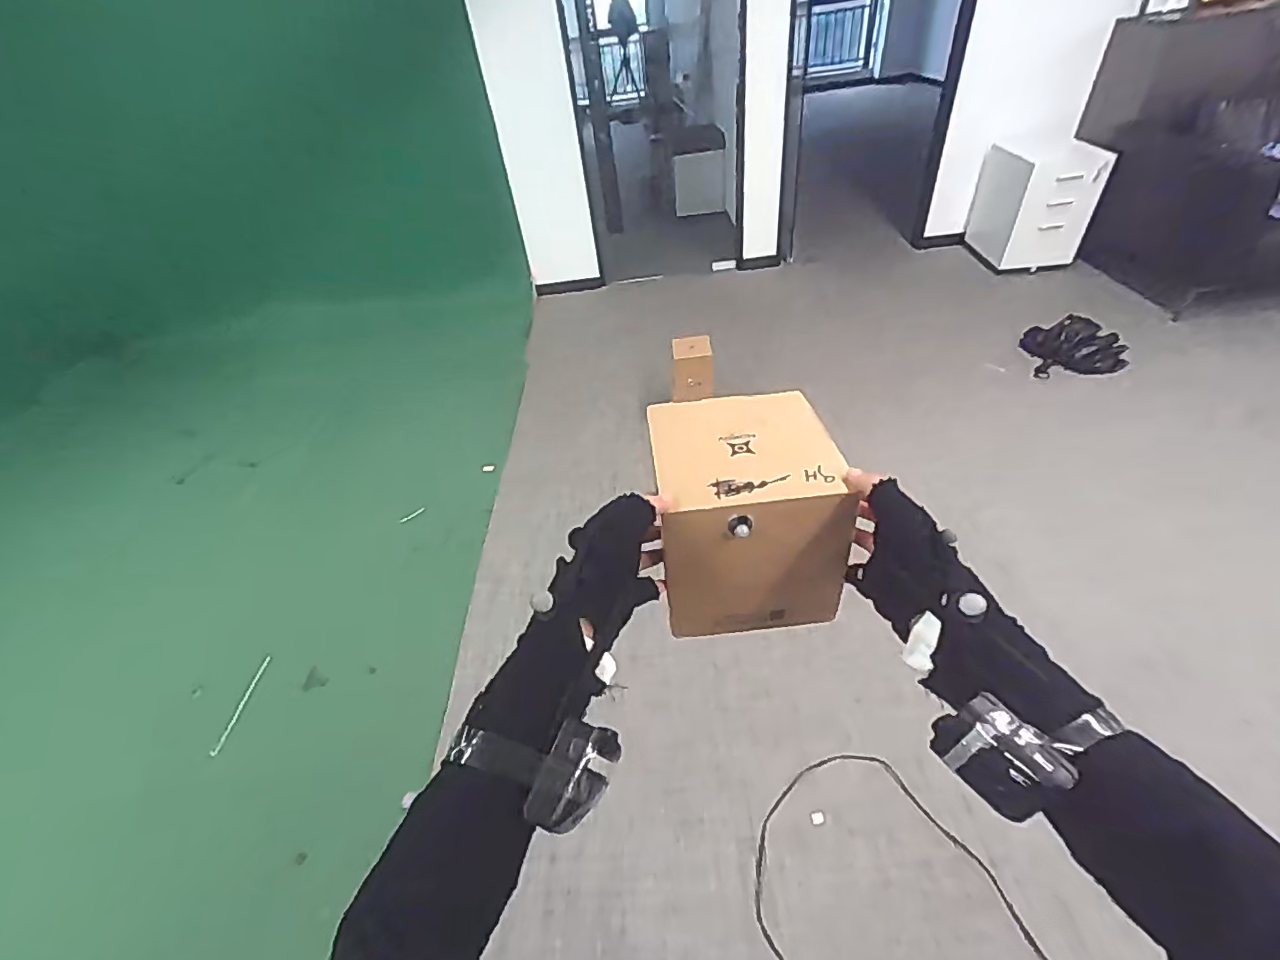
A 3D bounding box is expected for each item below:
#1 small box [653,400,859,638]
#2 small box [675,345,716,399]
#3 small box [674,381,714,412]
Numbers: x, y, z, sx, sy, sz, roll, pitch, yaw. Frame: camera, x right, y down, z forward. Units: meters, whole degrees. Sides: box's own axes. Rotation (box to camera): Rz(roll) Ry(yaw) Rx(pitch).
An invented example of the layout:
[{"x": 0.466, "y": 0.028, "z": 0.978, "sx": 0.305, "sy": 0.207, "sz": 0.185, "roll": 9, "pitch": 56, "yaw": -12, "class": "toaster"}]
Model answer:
[{"x": 0.104, "y": 0.036, "z": 0.561, "sx": 0.168, "sy": 0.176, "sz": 0.179, "roll": -7, "pitch": 36, "yaw": 1, "class": "small box"}, {"x": 0.248, "y": -0.483, "z": 2.419, "sx": 0.168, "sy": 0.176, "sz": 0.179, "roll": -6, "pitch": 41, "yaw": 5, "class": "small box"}, {"x": 0.252, "y": -0.355, "z": 2.518, "sx": 0.179, "sy": 0.176, "sz": 0.168, "roll": -5, "pitch": 41, "yaw": 6, "class": "small box"}]
